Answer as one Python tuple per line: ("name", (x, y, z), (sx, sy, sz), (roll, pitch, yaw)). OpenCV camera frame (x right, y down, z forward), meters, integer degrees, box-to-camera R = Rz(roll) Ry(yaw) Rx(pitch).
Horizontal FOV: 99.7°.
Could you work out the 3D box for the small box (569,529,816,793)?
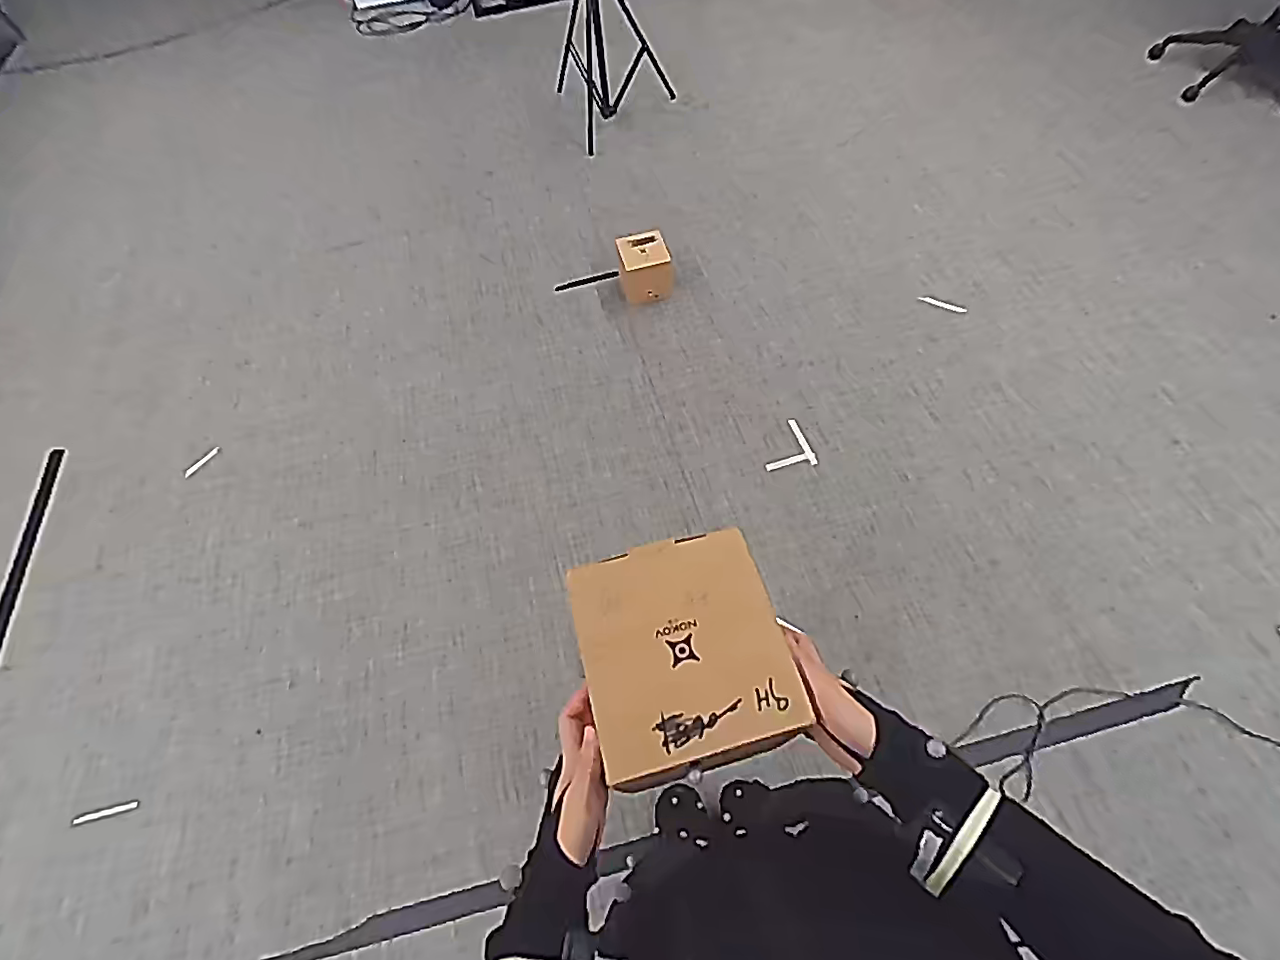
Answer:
("small box", (0.037, 0.175, 0.510), (0.168, 0.176, 0.179), (-14, 58, -5))
